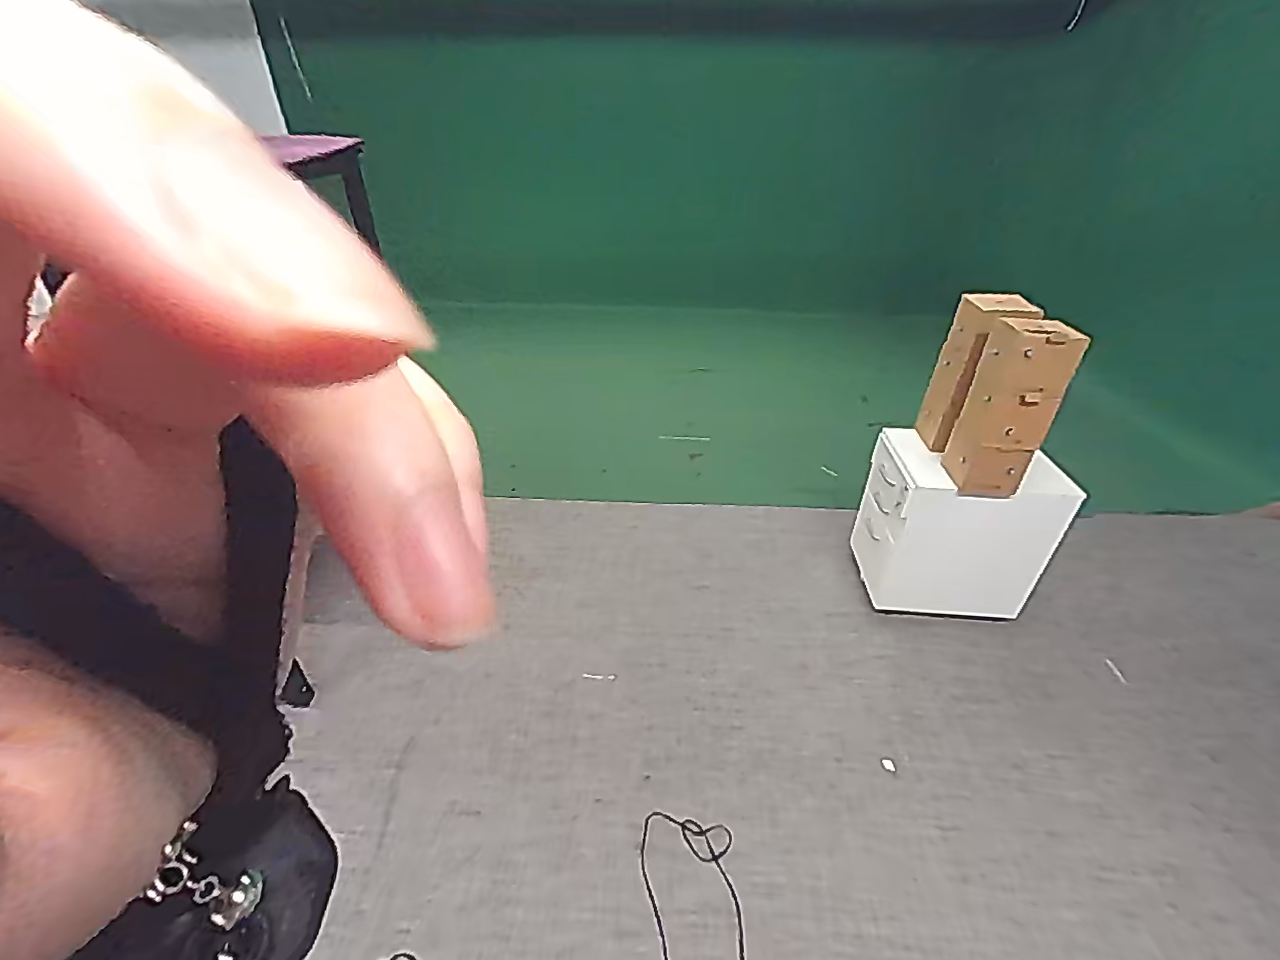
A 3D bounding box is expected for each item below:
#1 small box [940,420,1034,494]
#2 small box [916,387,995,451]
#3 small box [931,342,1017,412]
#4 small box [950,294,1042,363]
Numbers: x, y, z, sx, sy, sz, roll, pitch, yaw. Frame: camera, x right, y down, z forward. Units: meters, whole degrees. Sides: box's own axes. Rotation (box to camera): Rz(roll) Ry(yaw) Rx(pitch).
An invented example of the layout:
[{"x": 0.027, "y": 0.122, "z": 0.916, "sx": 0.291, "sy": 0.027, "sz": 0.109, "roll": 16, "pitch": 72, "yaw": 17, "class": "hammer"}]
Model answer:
[{"x": 1.077, "y": -0.072, "z": 1.692, "sx": 0.168, "sy": 0.176, "sz": 0.179, "roll": 4, "pitch": 32, "yaw": 3, "class": "small box"}, {"x": 1.095, "y": -0.210, "z": 1.895, "sx": 0.168, "sy": 0.176, "sz": 0.179, "roll": 3, "pitch": 35, "yaw": 4, "class": "small box"}, {"x": 1.101, "y": -0.346, "z": 1.802, "sx": 0.168, "sy": 0.176, "sz": 0.179, "roll": 3, "pitch": 36, "yaw": 4, "class": "small box"}, {"x": 1.107, "y": -0.478, "z": 1.704, "sx": 0.179, "sy": 0.176, "sz": 0.168, "roll": 3, "pitch": 36, "yaw": 4, "class": "small box"}]
